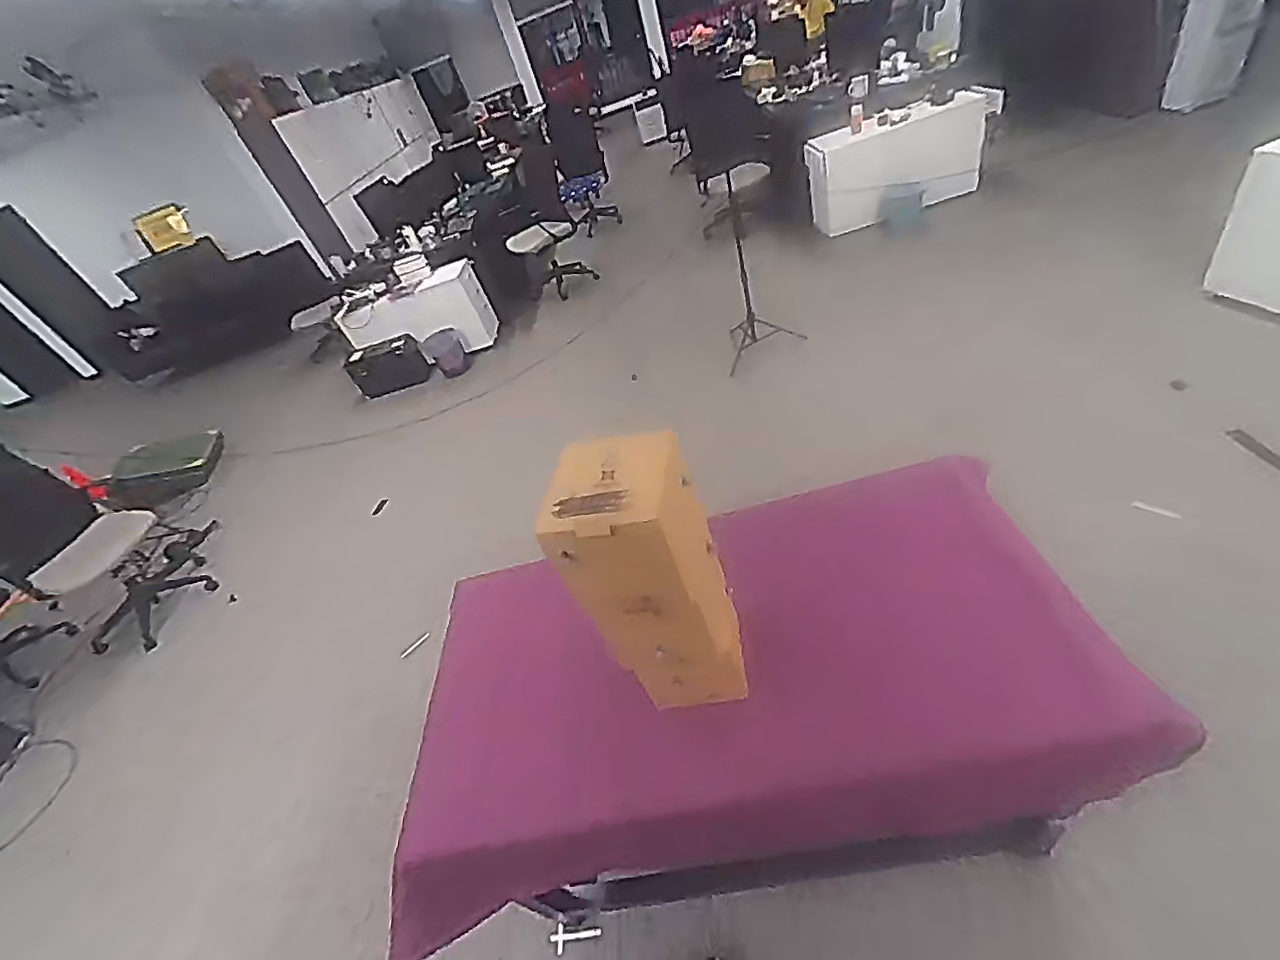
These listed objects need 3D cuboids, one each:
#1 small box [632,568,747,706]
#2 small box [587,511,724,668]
[{"bbox_3d":[0.088,0.285,0.966,0.168,0.176,0.179,-13,40,11],"label":"small box"},{"bbox_3d":[0.035,0.175,0.855,0.168,0.176,0.179,-9,41,17],"label":"small box"}]
